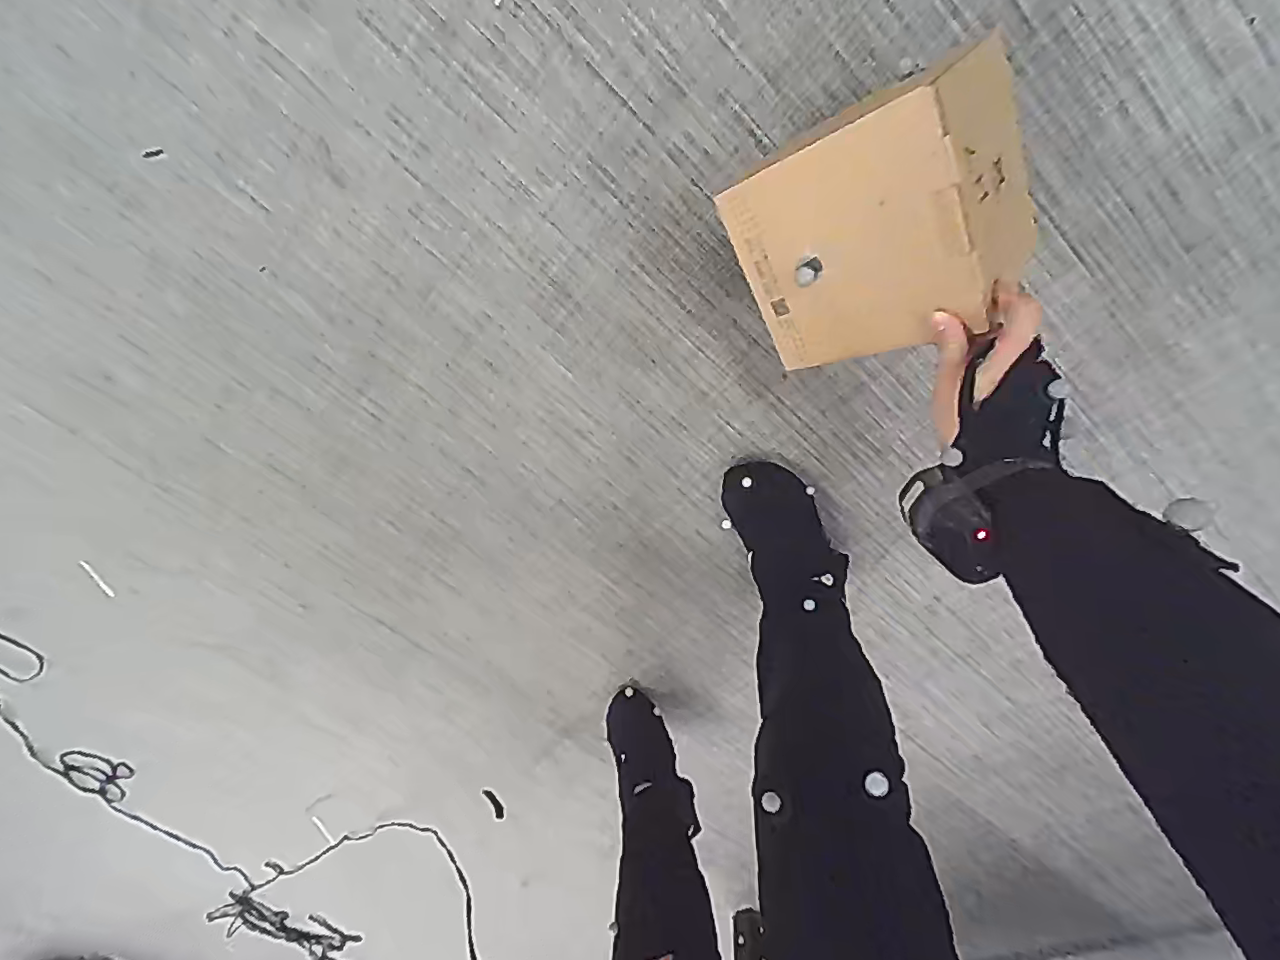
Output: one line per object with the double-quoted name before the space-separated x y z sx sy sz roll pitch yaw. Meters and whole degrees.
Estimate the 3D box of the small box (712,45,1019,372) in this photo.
"small box" 0.192 -0.214 0.460 0.176 0.179 0.168 -2 128 50
